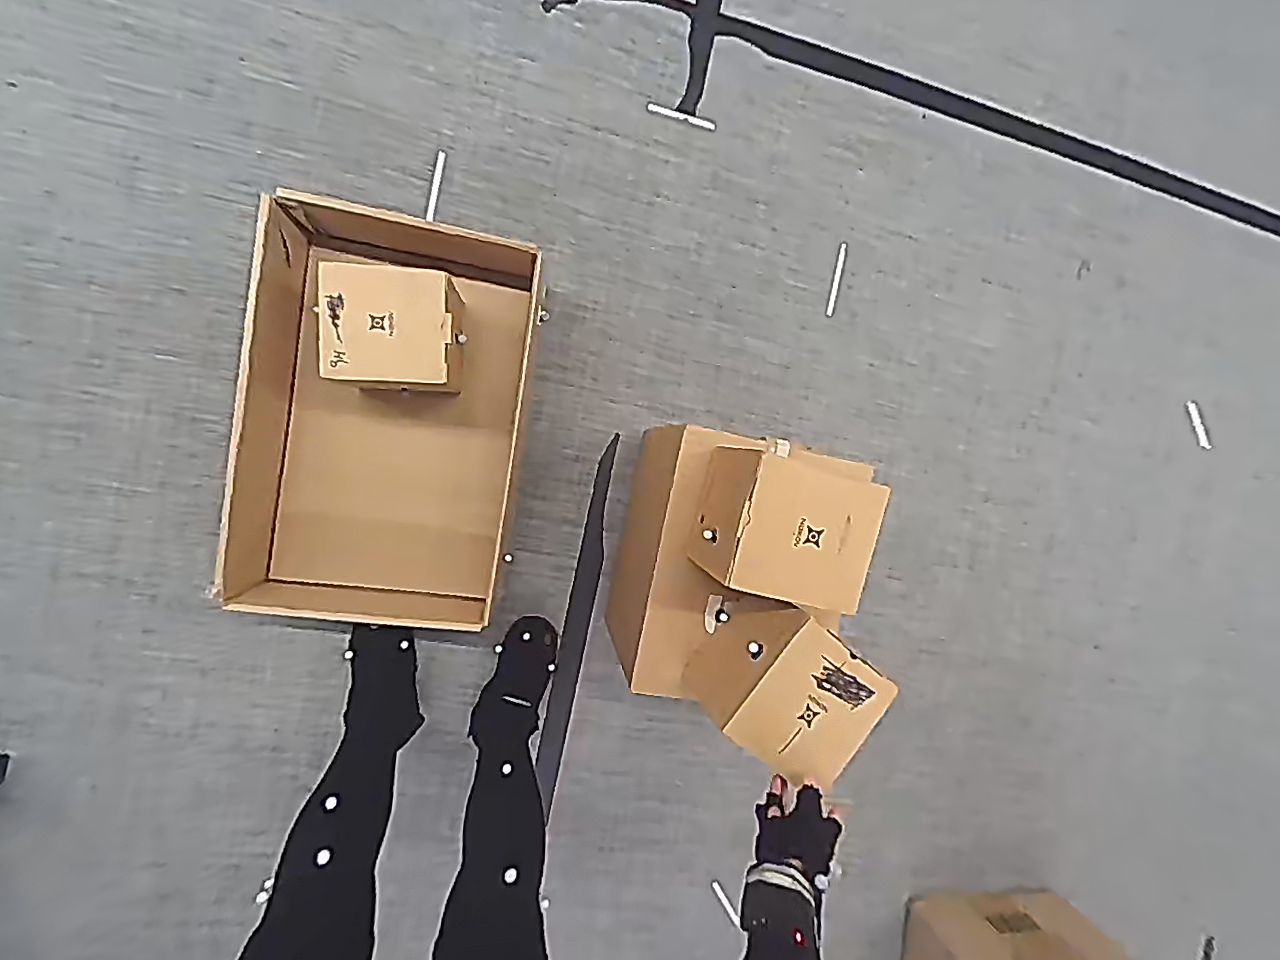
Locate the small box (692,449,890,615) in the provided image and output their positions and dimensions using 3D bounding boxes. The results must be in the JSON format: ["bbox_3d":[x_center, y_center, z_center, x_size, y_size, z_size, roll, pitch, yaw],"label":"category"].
[{"bbox_3d":[0.184,0.059,0.714,0.179,0.176,0.168,14,93,-12],"label":"small box"}]

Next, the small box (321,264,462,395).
[{"bbox_3d":[-0.382,-0.227,0.859,0.179,0.176,0.168,1,94,-11],"label":"small box"}]

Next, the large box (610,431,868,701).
[{"bbox_3d":[0.146,0.135,0.960,0.320,0.320,0.408,11,92,-10],"label":"large box"}]

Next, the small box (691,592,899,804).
[{"bbox_3d":[0.194,0.274,0.728,0.168,0.176,0.179,40,86,-10],"label":"small box"}]
